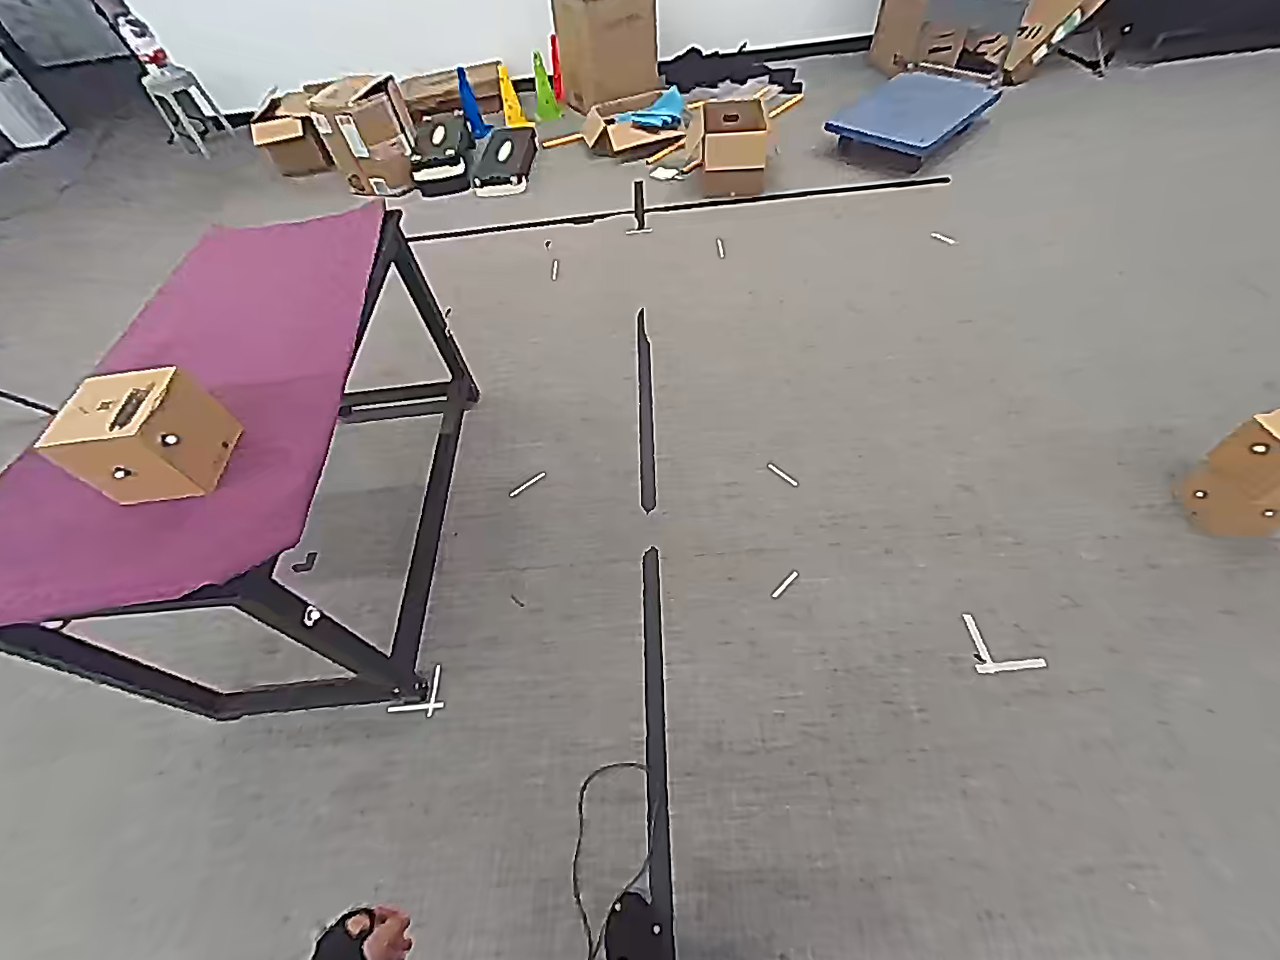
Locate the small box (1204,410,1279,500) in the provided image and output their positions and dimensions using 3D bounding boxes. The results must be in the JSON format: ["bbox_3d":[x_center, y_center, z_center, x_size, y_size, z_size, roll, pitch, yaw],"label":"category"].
[{"bbox_3d":[1.645,-0.062,1.390,0.168,0.176,0.179,-10,52,0],"label":"small box"}]

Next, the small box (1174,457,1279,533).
[{"bbox_3d":[1.671,0.038,1.516,0.179,0.176,0.168,-2,54,4],"label":"small box"}]
